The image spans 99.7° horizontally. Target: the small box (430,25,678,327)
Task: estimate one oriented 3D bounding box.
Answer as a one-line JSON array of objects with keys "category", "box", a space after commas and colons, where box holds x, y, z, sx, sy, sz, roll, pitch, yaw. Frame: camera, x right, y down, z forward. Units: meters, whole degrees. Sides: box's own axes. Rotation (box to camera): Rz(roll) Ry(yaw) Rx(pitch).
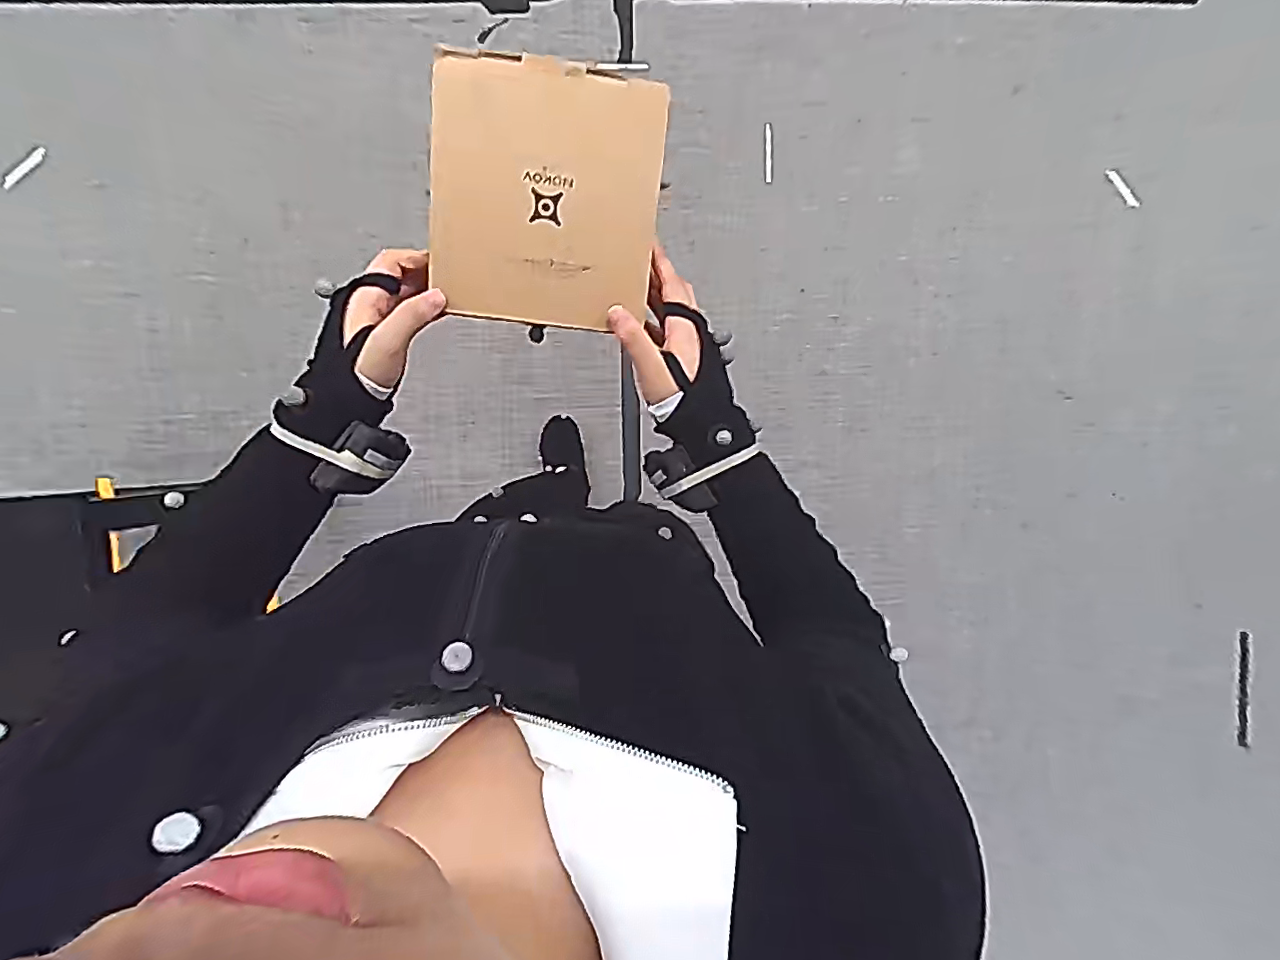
[{"category": "small box", "box": [-0.072, -0.232, 0.464, 0.168, 0.176, 0.179, 5, 106, -7]}]
